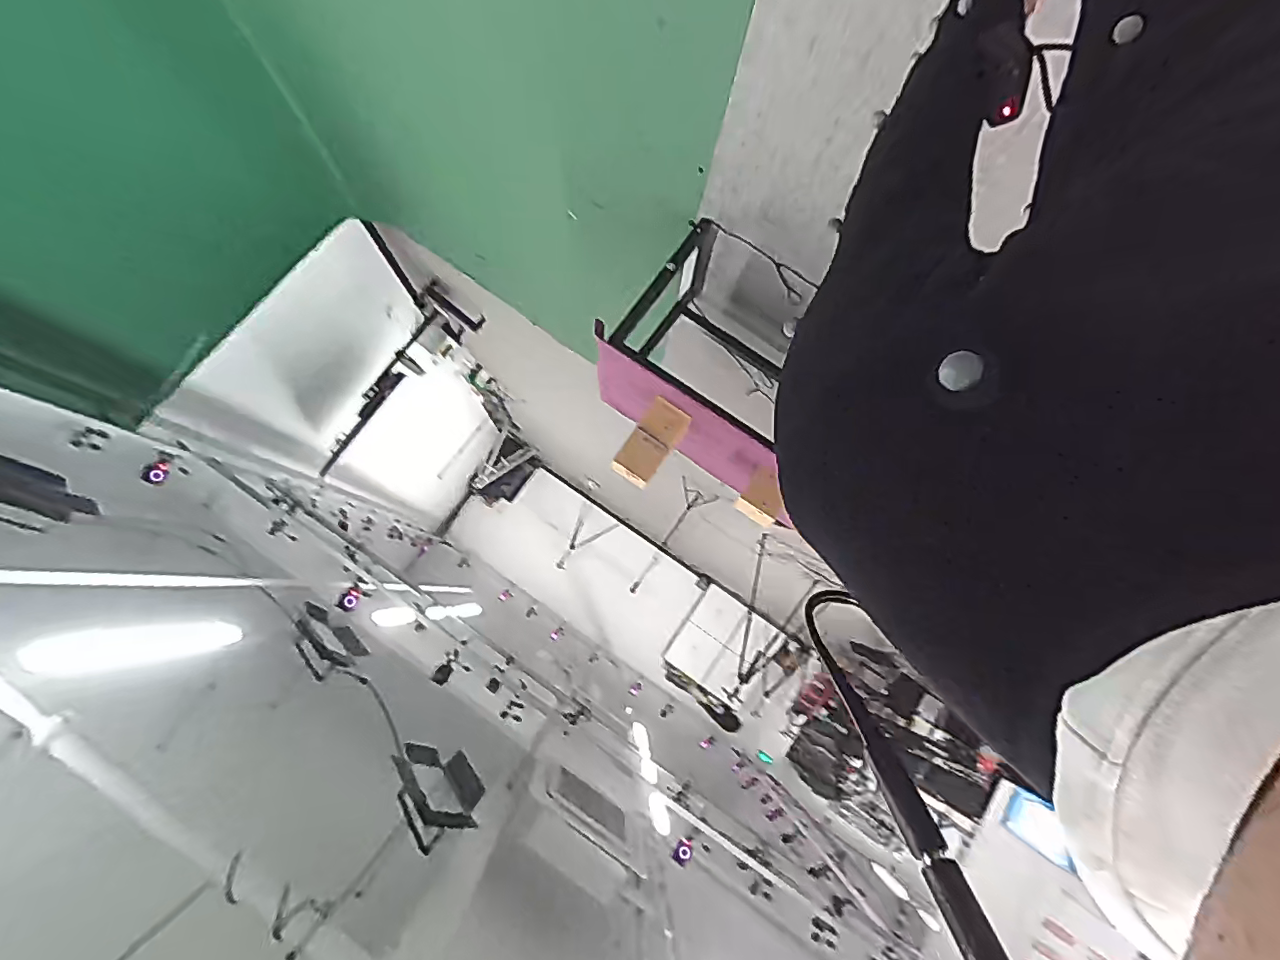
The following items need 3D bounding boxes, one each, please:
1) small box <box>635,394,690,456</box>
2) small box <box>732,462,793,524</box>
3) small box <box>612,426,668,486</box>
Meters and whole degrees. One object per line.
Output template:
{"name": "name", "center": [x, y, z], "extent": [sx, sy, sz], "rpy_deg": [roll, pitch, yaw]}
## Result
{"name": "small box", "center": [0.092, -0.230, 2.241], "extent": [0.168, 0.176, 0.179], "rpy_deg": [34, 170, 6]}
{"name": "small box", "center": [0.499, 0.054, 2.204], "extent": [0.168, 0.176, 0.179], "rpy_deg": [33, 168, 10]}
{"name": "small box", "center": [-0.001, -0.100, 2.201], "extent": [0.168, 0.176, 0.179], "rpy_deg": [35, 170, 3]}
